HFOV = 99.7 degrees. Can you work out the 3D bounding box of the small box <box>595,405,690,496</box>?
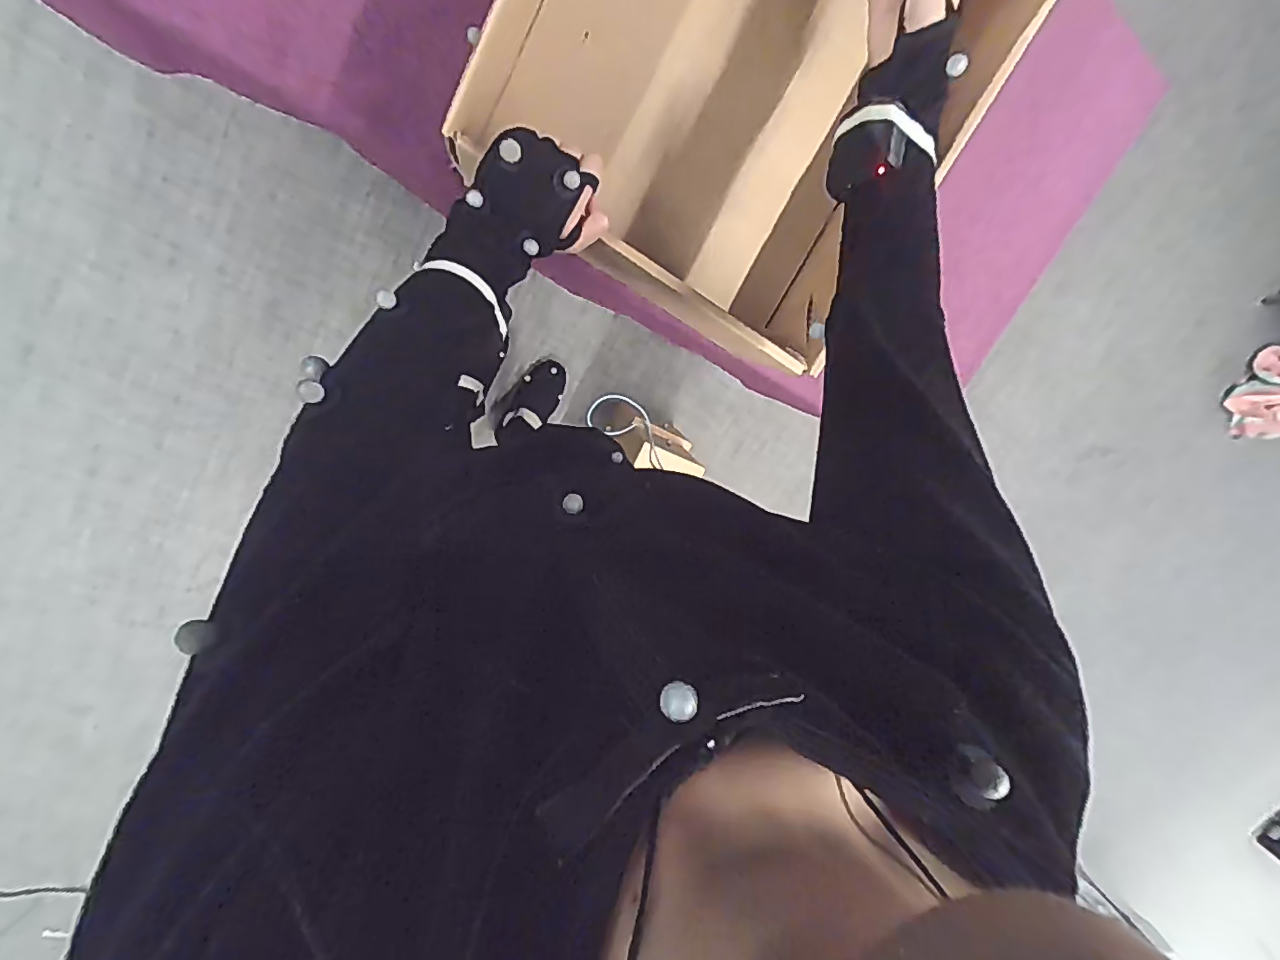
[{"bbox_3d":[0.000,-0.085,1.444,0.179,0.176,0.168,23,104,-21],"label":"small box"}]
